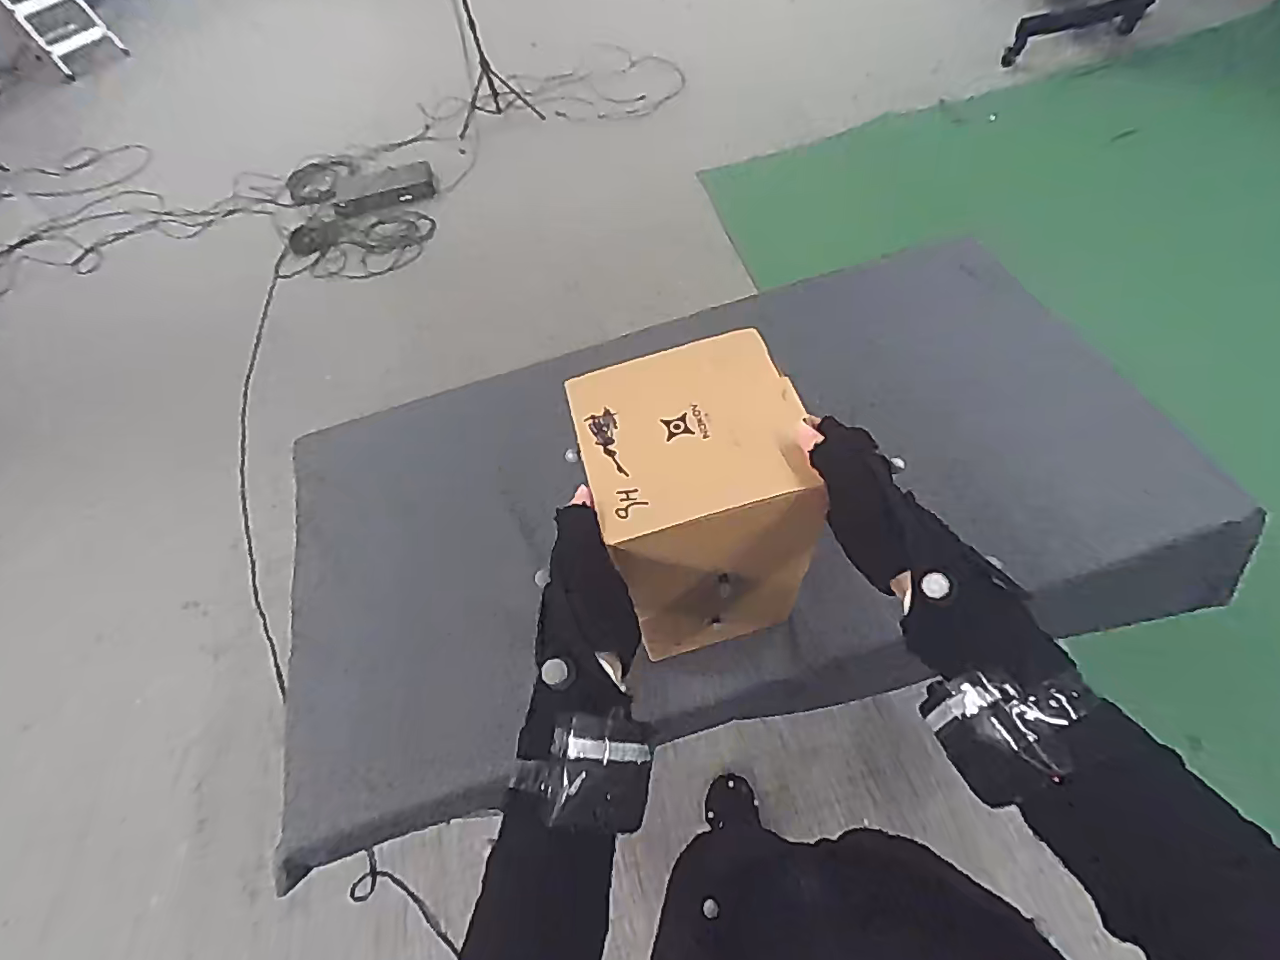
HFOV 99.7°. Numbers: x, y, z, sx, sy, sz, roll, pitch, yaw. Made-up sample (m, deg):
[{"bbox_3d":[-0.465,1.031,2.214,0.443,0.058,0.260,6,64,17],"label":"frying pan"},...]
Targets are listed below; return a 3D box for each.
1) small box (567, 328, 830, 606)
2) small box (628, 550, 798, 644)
[{"bbox_3d":[0.045,-0.004,0.495,0.179,0.176,0.168,-15,57,-2],"label":"small box"},{"bbox_3d":[0.065,0.076,0.635,0.179,0.176,0.168,-14,57,-1],"label":"small box"}]
